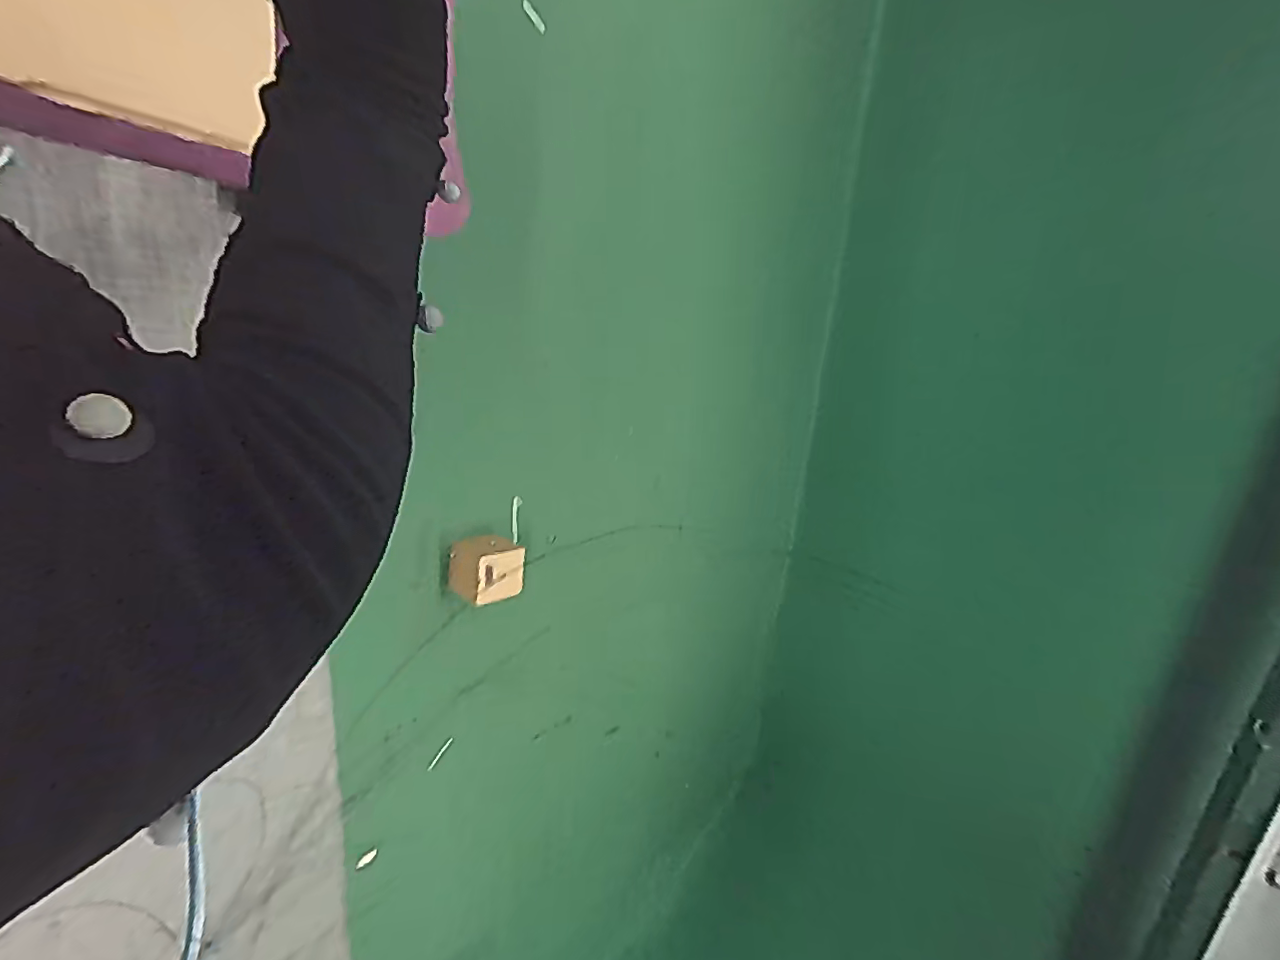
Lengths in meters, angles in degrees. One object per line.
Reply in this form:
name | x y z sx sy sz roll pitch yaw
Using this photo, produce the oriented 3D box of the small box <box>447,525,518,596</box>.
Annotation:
small box | -0.531 0.263 1.809 0.179 0.176 0.168 -11 113 -47
